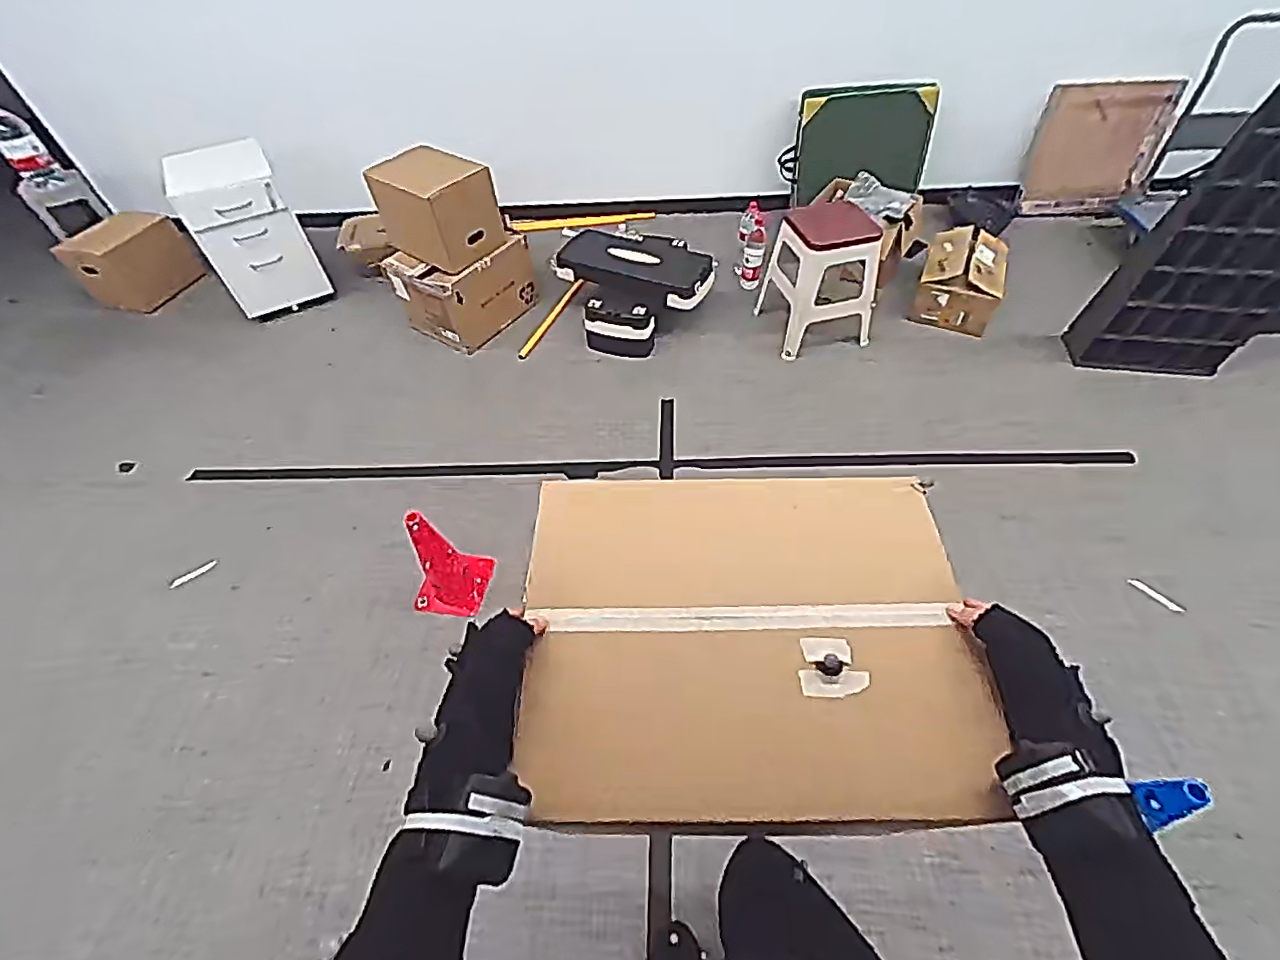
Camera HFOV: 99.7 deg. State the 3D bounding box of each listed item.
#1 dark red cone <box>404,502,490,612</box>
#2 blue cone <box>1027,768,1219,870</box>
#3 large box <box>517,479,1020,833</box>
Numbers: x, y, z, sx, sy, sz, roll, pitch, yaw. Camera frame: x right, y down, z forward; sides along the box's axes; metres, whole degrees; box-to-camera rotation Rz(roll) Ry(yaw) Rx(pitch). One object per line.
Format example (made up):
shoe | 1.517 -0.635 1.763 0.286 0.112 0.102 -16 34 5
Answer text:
dark red cone | -0.571 0.196 1.502 0.201 0.394 0.202 5 51 6
blue cone | 0.981 0.651 1.083 0.192 0.380 0.193 3 51 4
large box | 0.098 0.213 0.626 0.408 0.320 0.320 -1 55 0
